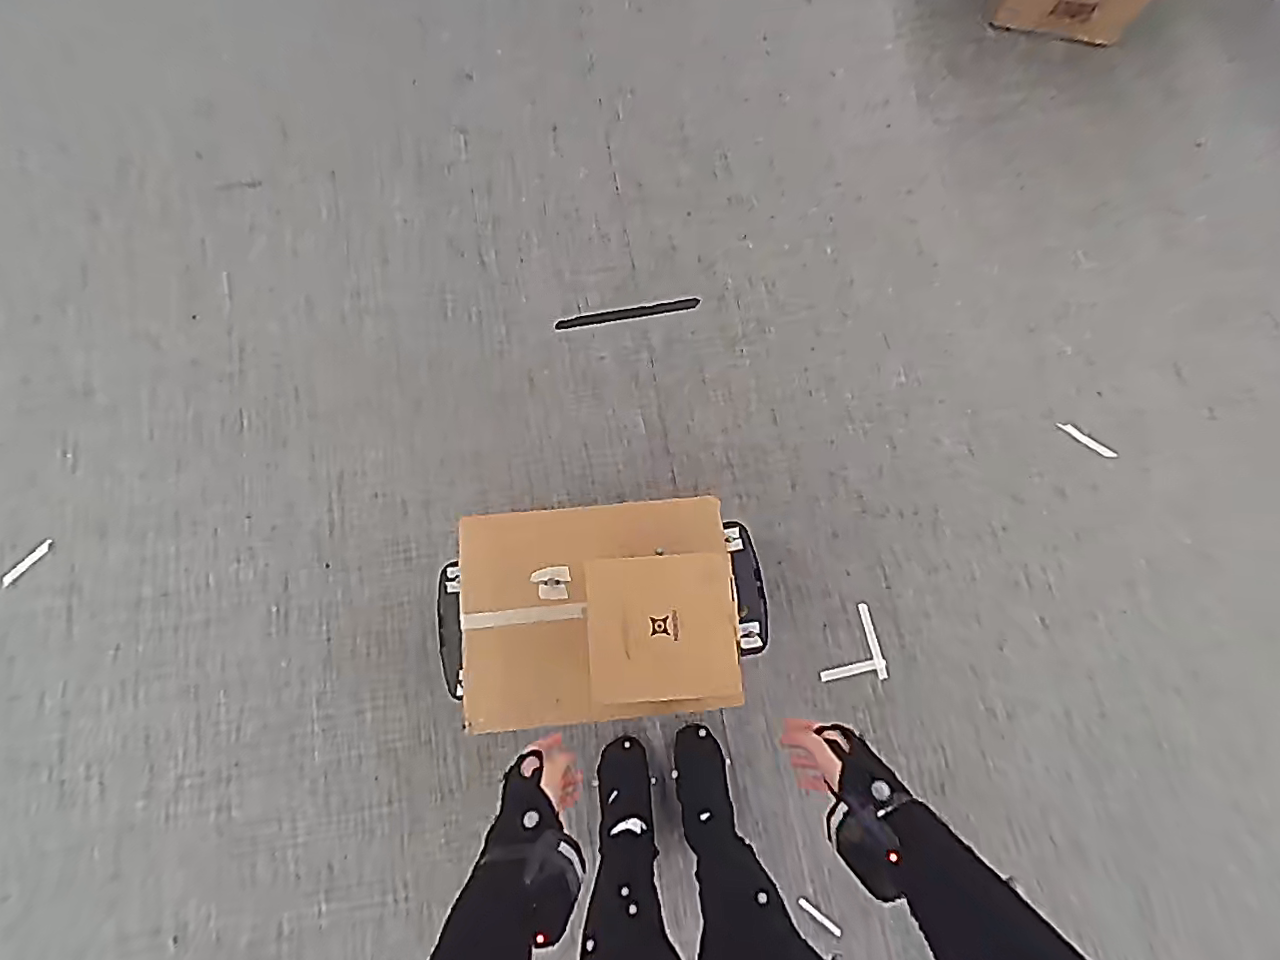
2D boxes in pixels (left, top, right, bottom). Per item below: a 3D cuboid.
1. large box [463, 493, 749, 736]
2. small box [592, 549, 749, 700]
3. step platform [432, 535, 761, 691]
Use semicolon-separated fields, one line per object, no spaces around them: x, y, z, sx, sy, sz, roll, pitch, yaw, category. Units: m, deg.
-0.056;0.222;0.939;0.408;0.320;0.320;-6;76;-2;large box
0.031;0.179;0.699;0.179;0.176;0.168;-3;77;-1;small box
-0.087;0.282;1.169;0.684;0.204;0.286;-3;77;-1;step platform
